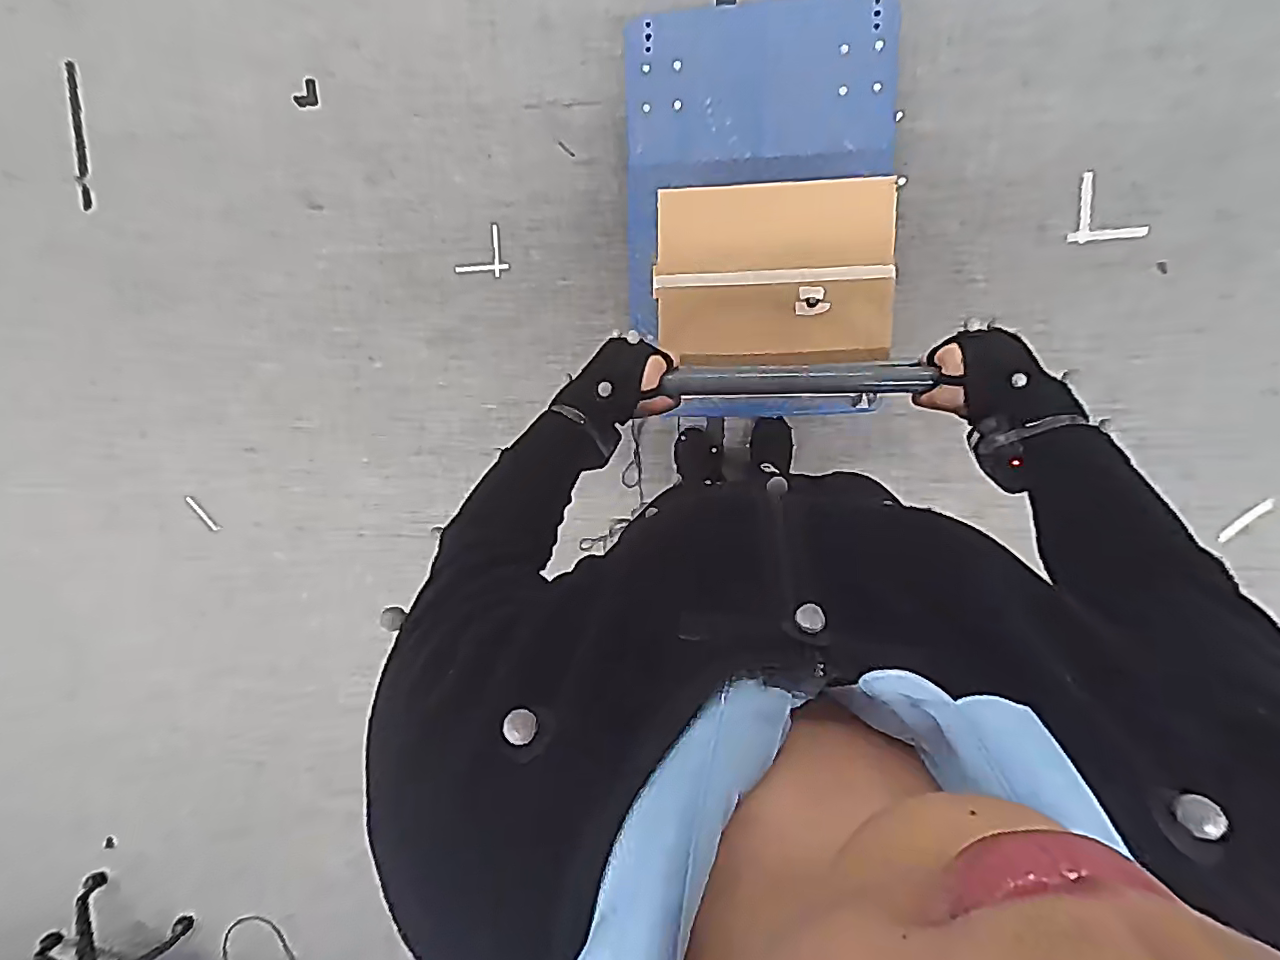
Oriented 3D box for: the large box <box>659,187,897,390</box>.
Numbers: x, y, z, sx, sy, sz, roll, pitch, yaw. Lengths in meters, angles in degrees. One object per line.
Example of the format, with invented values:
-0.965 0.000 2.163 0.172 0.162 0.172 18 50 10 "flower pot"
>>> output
0.249 -0.350 1.083 0.408 0.320 0.320 0 97 6 "large box"
